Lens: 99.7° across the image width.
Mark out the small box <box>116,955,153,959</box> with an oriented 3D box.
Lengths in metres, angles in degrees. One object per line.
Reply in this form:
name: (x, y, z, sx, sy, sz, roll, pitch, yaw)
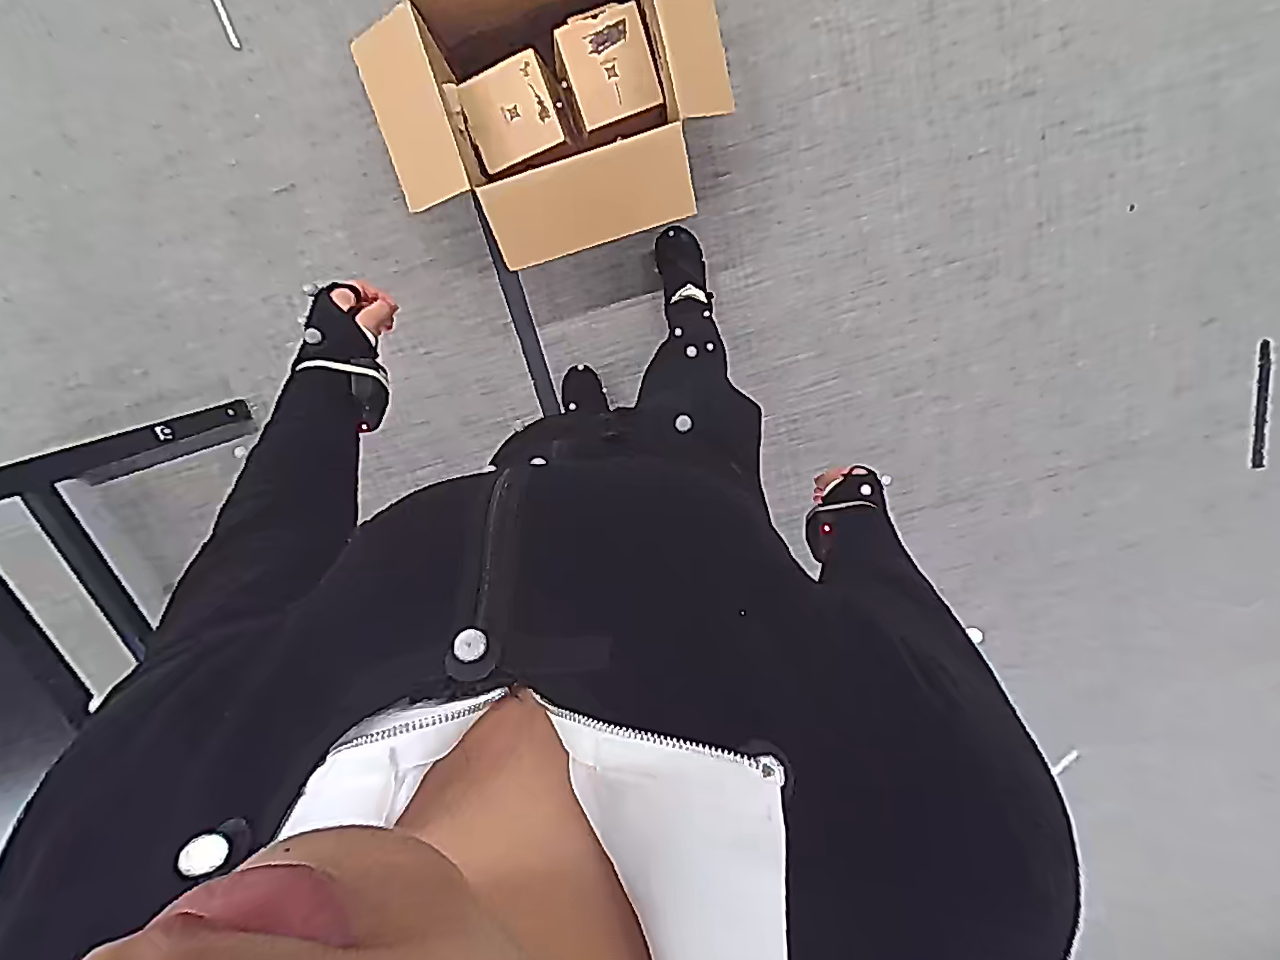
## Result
small box: (-1.011, 1.028, 1.001, 0.179, 0.176, 0.168, -16, 107, 6)
